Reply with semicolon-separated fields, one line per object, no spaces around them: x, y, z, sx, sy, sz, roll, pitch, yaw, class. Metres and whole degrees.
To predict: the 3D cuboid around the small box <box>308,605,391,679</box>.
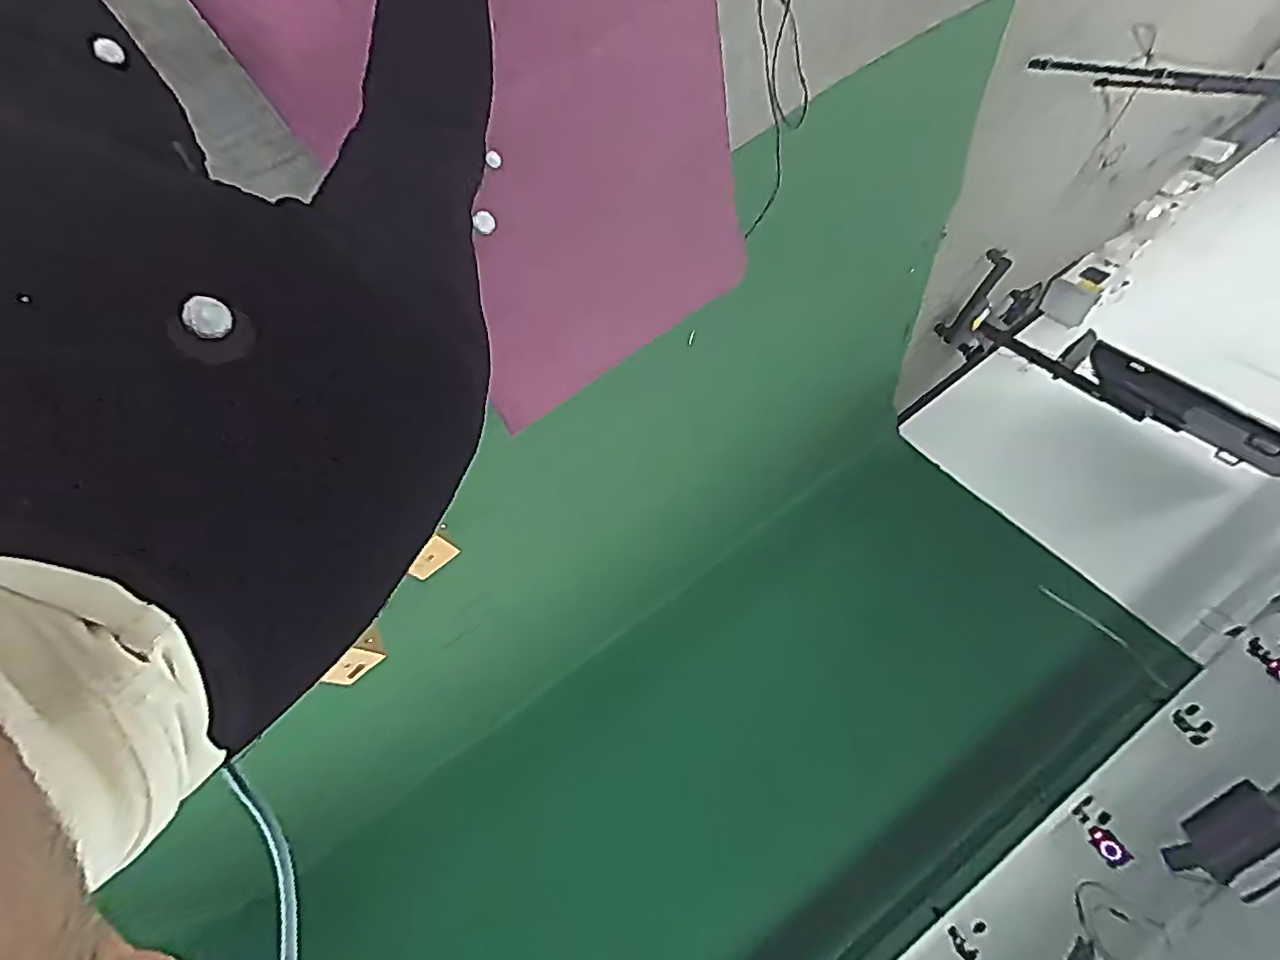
-1.005;0.559;1.872;0.168;0.176;0.179;-39;147;-1;small box

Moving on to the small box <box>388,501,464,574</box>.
-0.786;0.209;1.981;0.179;0.176;0.168;-37;149;-6;small box
